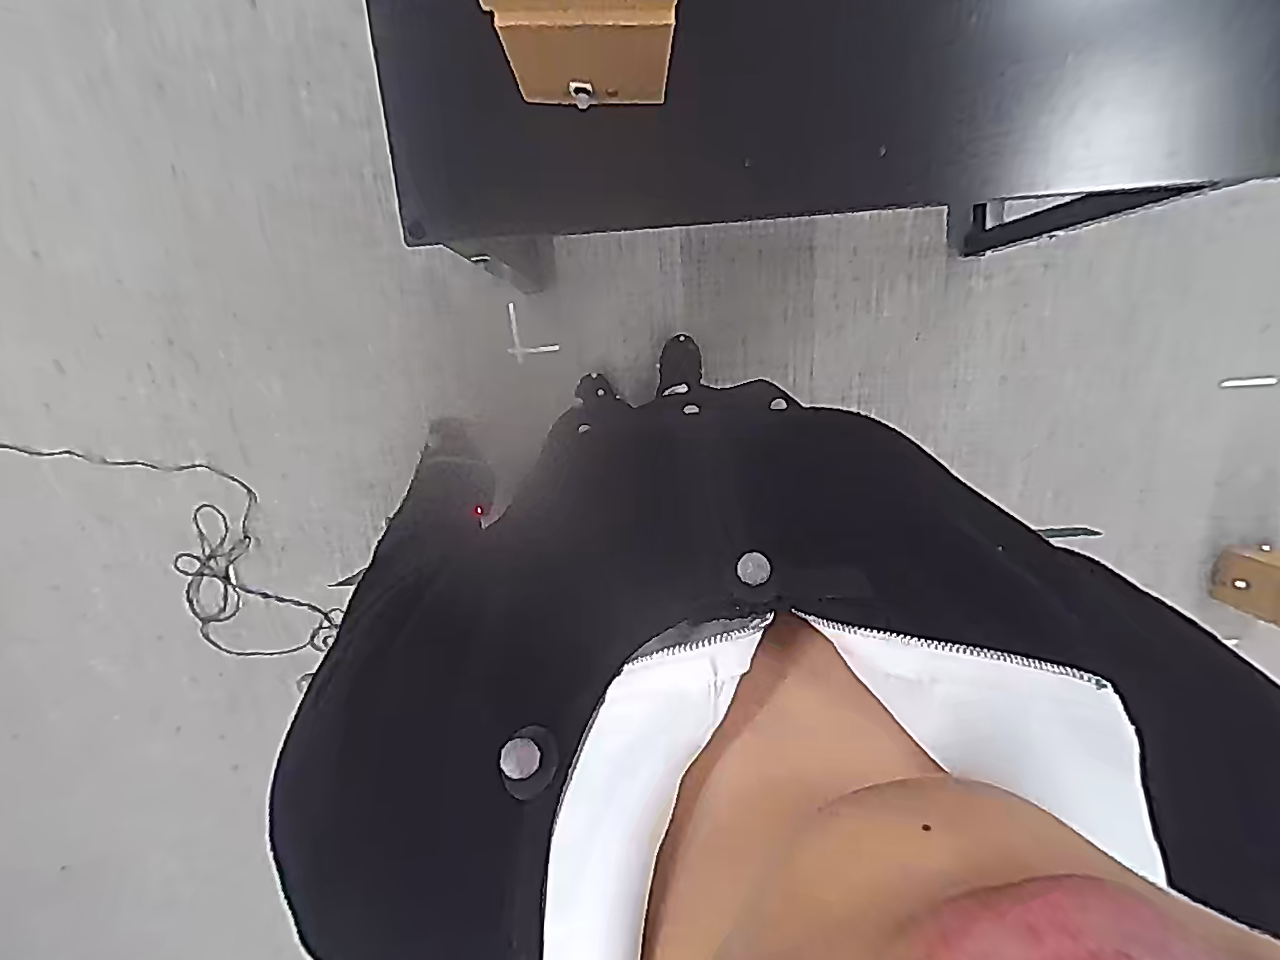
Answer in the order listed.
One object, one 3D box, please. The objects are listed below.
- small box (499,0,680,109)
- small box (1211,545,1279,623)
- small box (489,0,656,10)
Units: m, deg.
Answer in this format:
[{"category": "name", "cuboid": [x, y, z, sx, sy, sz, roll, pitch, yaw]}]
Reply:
[{"category": "small box", "cuboid": [-0.049, -0.511, 0.548, 0.168, 0.176, 0.179, -2, 104, 0]}, {"category": "small box", "cuboid": [1.804, 0.291, 1.539, 0.179, 0.176, 0.168, -3, 104, 0]}, {"category": "small box", "cuboid": [-0.050, -0.480, 0.386, 0.179, 0.176, 0.168, -2, 102, 0]}]
